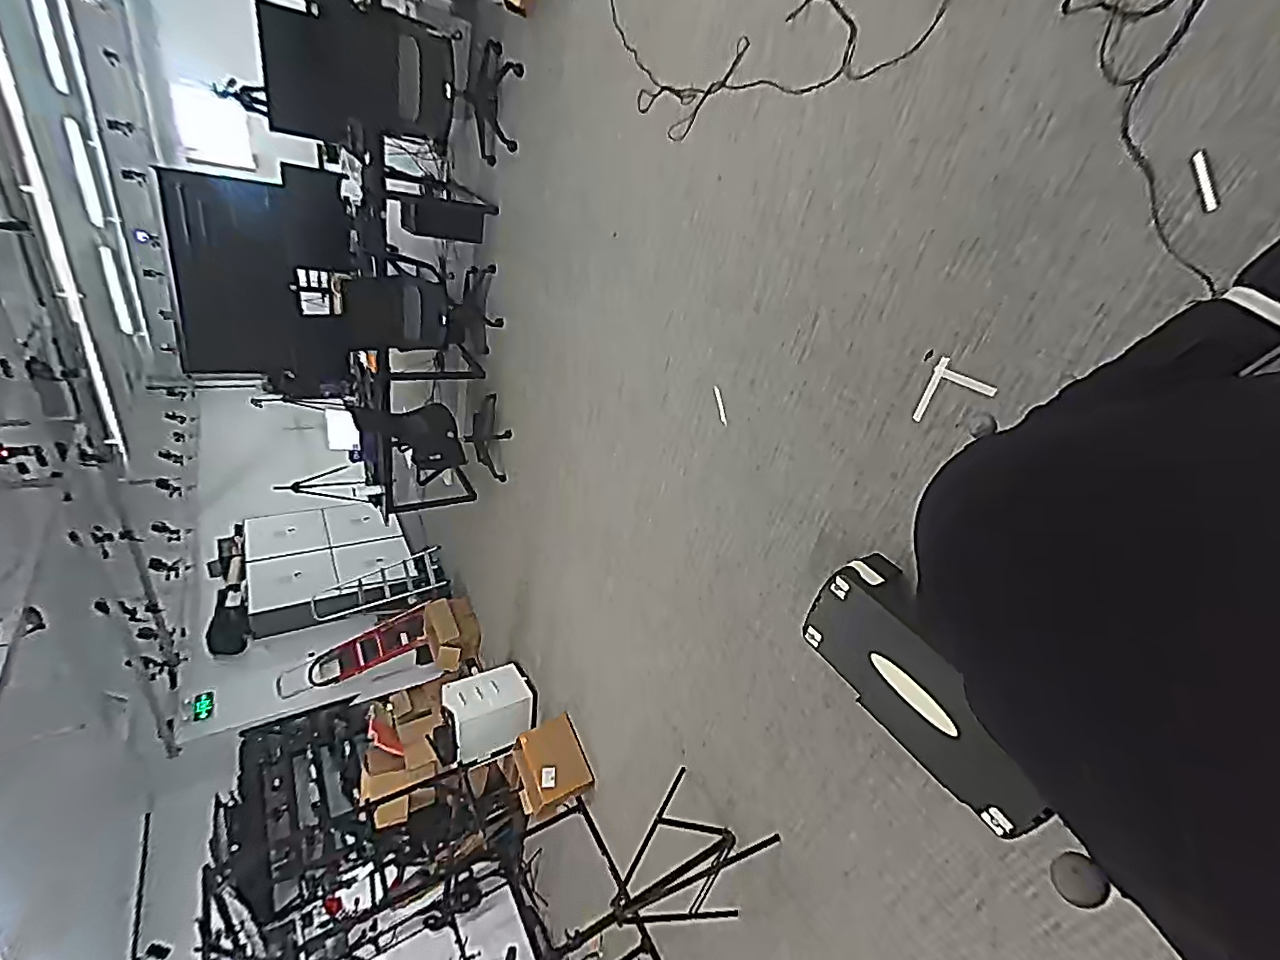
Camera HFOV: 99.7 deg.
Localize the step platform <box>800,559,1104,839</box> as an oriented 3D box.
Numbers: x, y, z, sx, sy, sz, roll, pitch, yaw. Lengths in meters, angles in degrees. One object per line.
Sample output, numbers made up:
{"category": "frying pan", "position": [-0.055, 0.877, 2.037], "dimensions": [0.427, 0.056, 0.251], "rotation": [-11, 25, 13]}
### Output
{"category": "step platform", "position": [0.740, 0.525, 1.398], "dimensions": [0.684, 0.204, 0.286], "rotation": [45, 133, 41]}
